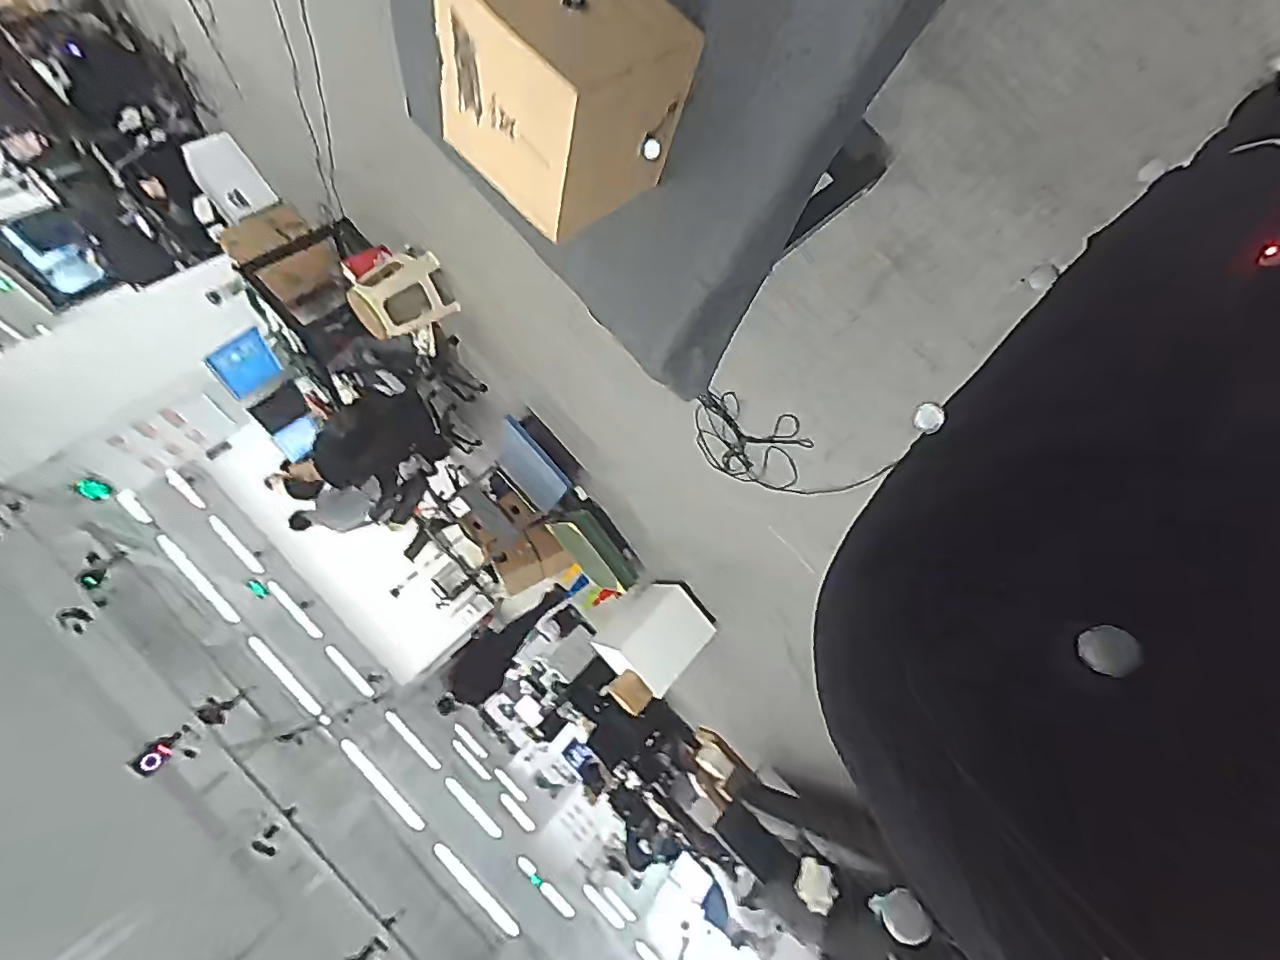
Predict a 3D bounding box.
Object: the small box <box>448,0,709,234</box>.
[{"bbox_3d":[-0.066,-0.394,0.537,0.179,0.176,0.168,46,155,4],"label":"small box"}]
